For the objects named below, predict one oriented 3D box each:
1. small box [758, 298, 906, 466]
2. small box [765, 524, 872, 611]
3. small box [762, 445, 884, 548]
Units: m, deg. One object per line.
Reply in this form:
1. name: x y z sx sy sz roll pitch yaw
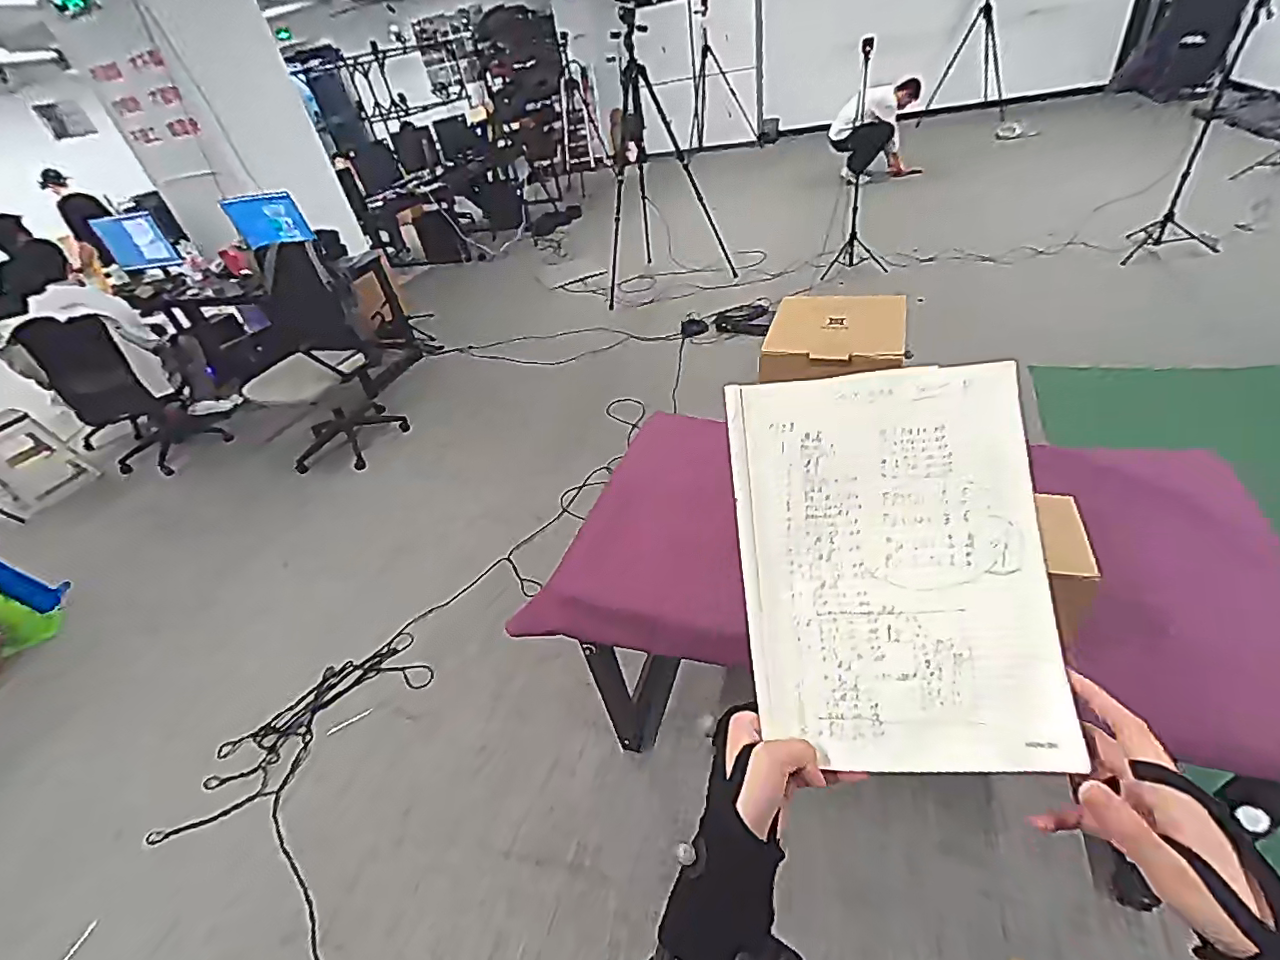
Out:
1. small box: 0.266 -0.137 0.752 0.168 0.176 0.179 8 42 22
2. small box: 0.323 0.107 0.964 0.168 0.176 0.179 7 43 22
3. small box: 0.294 -0.015 0.857 0.168 0.176 0.179 6 41 22
